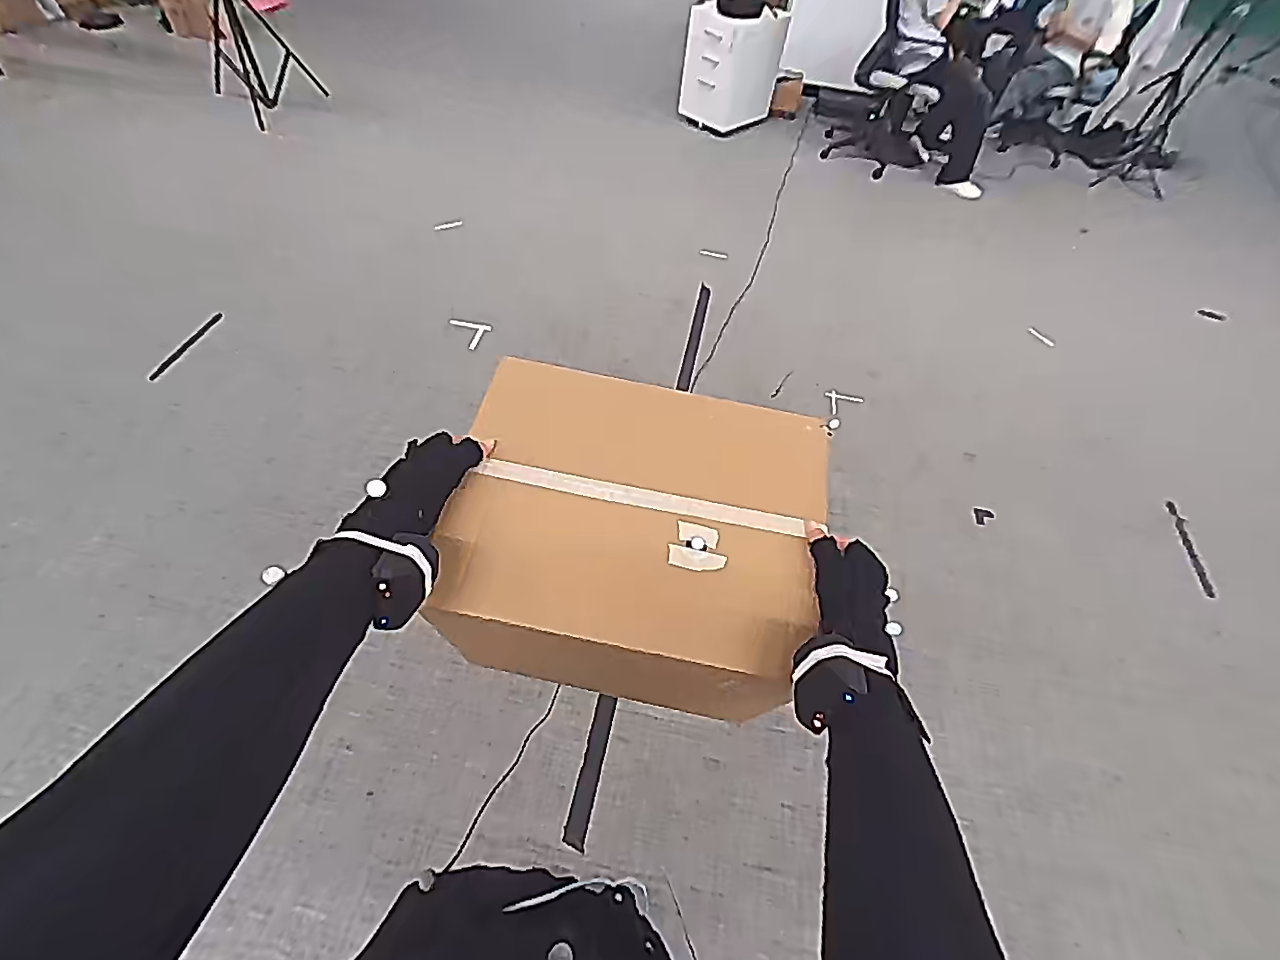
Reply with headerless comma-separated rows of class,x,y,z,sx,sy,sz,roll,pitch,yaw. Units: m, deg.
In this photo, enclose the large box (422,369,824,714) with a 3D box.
large box,-0.008,0.099,0.724,0.408,0.320,0.320,12,61,1
